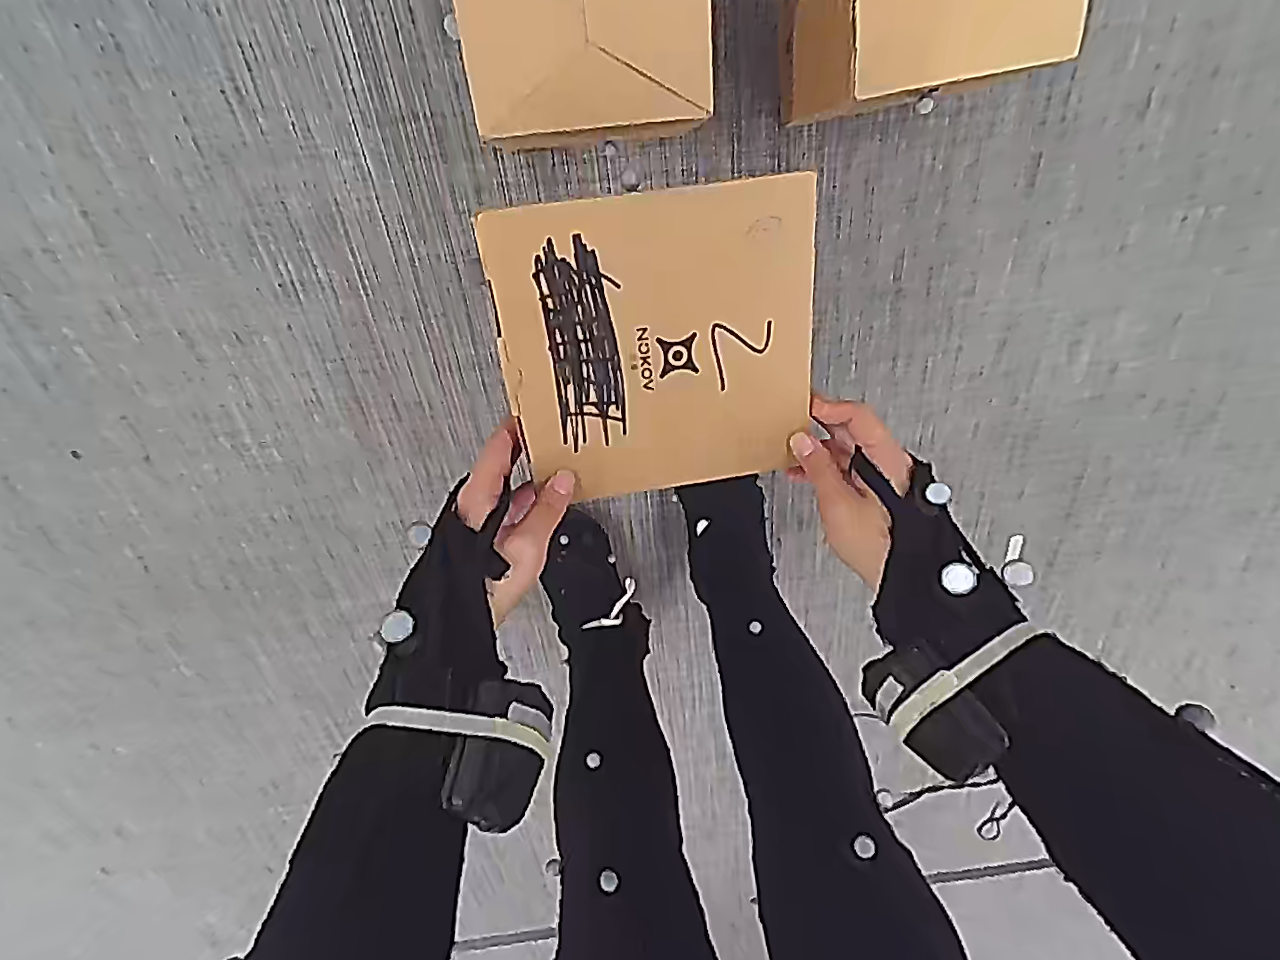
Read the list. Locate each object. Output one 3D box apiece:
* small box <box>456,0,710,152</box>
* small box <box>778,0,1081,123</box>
[{"bbox_3d":[-0.044,-0.370,0.433,0.179,0.176,0.168,-7,118,-3],"label":"small box"},{"bbox_3d":[0.224,-0.410,0.444,0.179,0.176,0.168,-10,119,1],"label":"small box"}]
